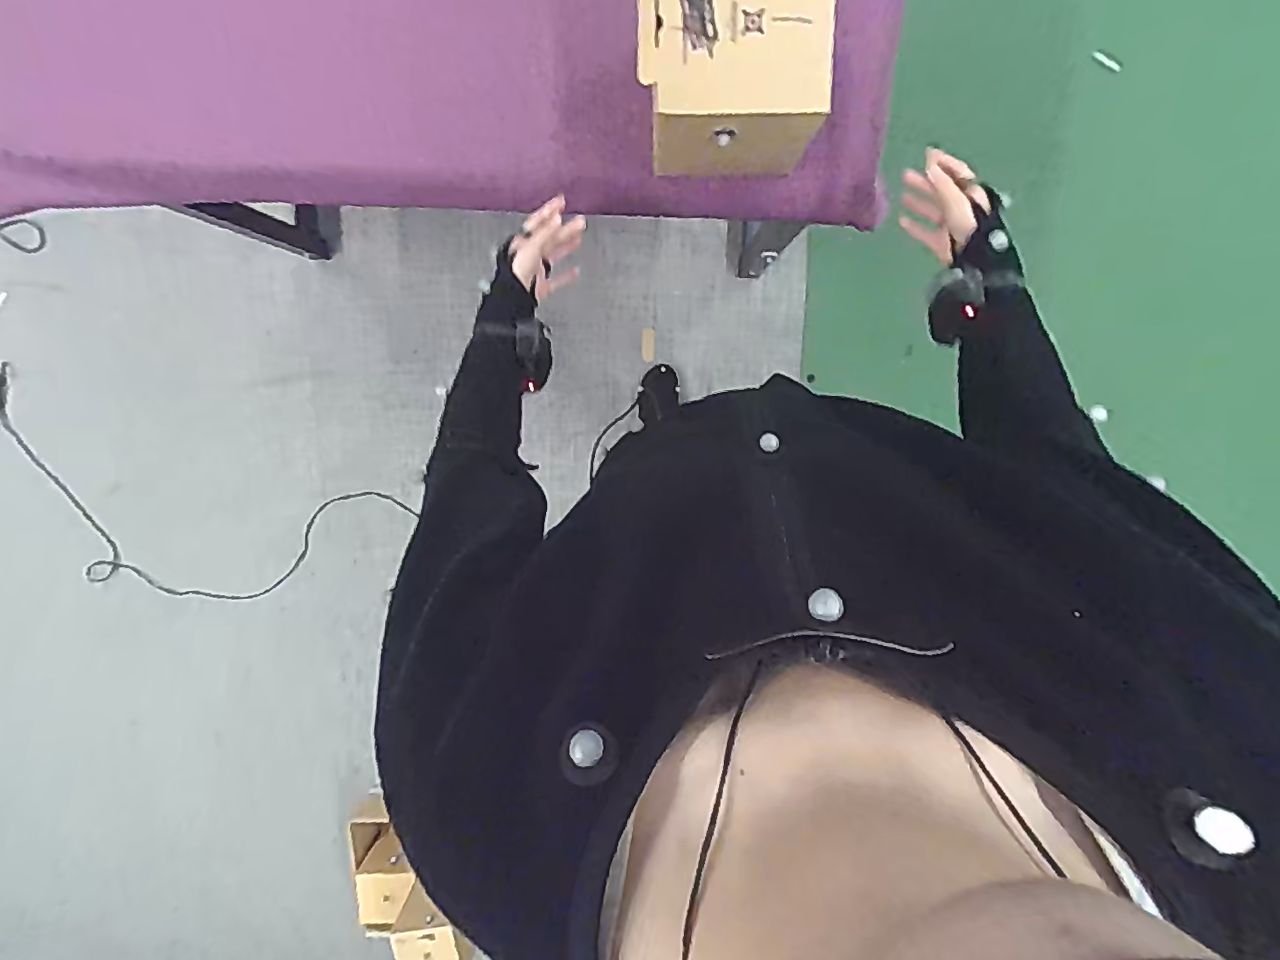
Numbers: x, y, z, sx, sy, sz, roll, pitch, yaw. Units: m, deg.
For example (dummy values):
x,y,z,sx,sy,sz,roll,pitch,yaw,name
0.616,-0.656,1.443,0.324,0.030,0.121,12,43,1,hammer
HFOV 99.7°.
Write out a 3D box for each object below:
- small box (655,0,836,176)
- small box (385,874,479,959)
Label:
x,y,z,sx,sy,sz,roll,pitch,yaw,name
0.106,-0.460,0.609,0.179,0.176,0.168,0,100,1,small box
-0.545,1.203,1.443,0.168,0.176,0.179,-9,99,3,small box
